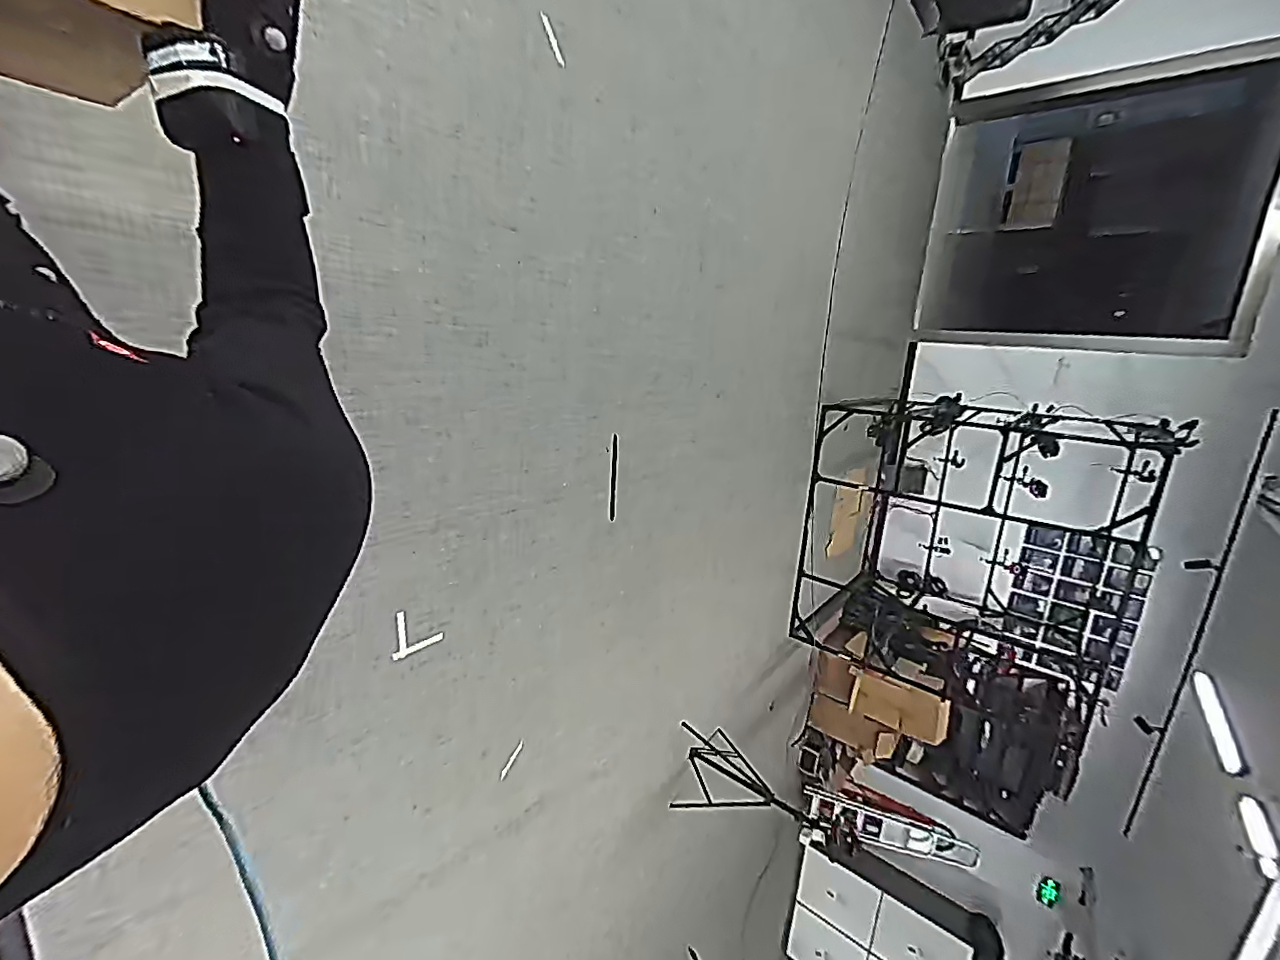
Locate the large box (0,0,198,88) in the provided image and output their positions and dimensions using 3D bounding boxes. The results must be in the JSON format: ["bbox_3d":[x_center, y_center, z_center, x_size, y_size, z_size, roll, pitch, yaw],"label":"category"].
[{"bbox_3d":[-0.540,-0.478,0.280,0.408,0.320,0.320,-13,116,-51],"label":"large box"}]
